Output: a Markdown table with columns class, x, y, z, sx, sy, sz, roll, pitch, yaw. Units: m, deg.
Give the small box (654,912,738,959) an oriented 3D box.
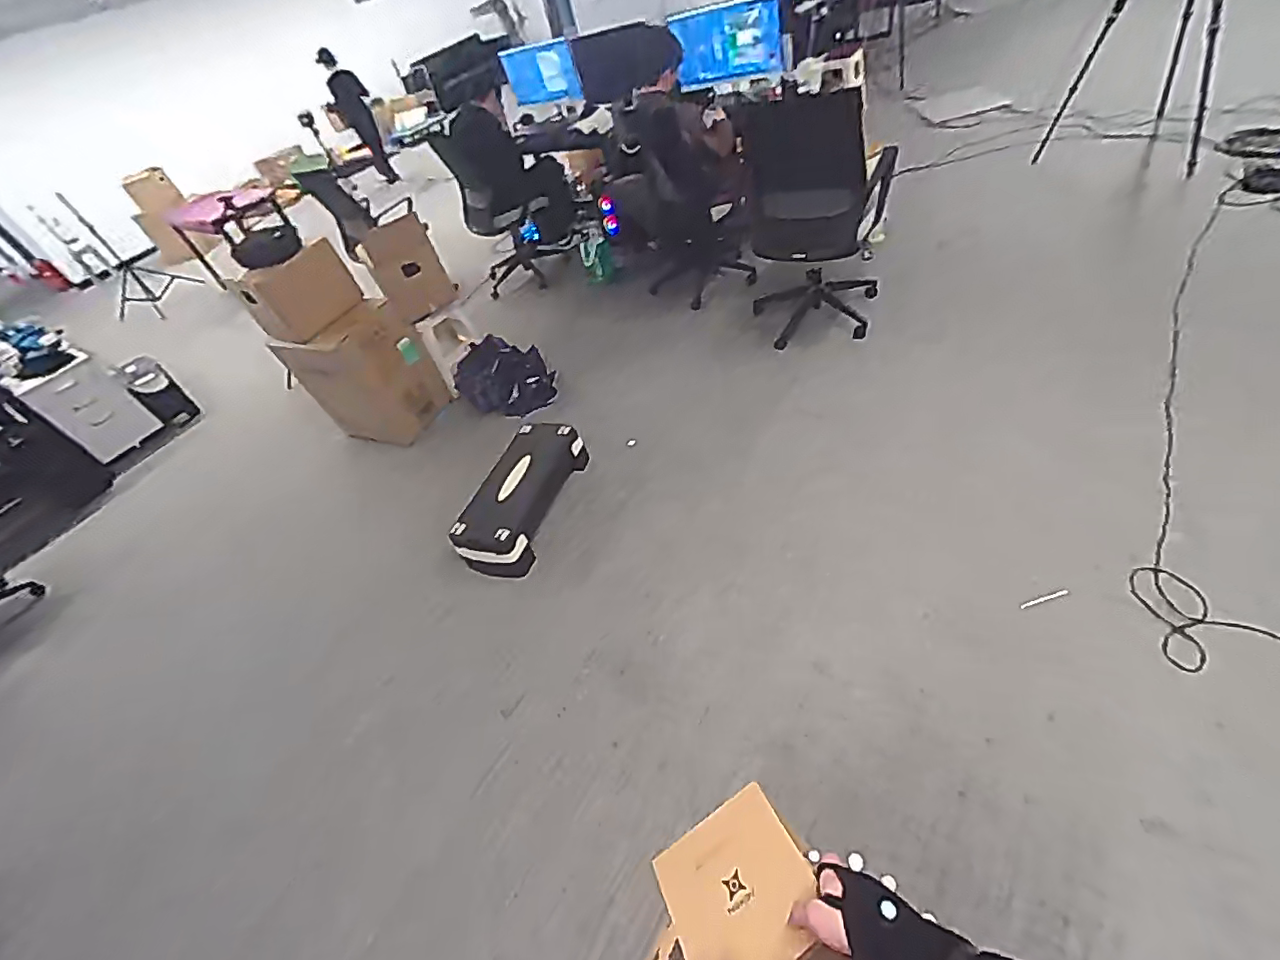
| class | x | y | z | sx | sy | sz | roll | pitch | yaw |
| --- | --- | --- | --- | --- | --- | --- | --- | --- | --- |
| small box | 0.122 | 1.034 | 1.098 | 0.179 | 0.176 | 0.168 | 19 | 56 | 33 |
